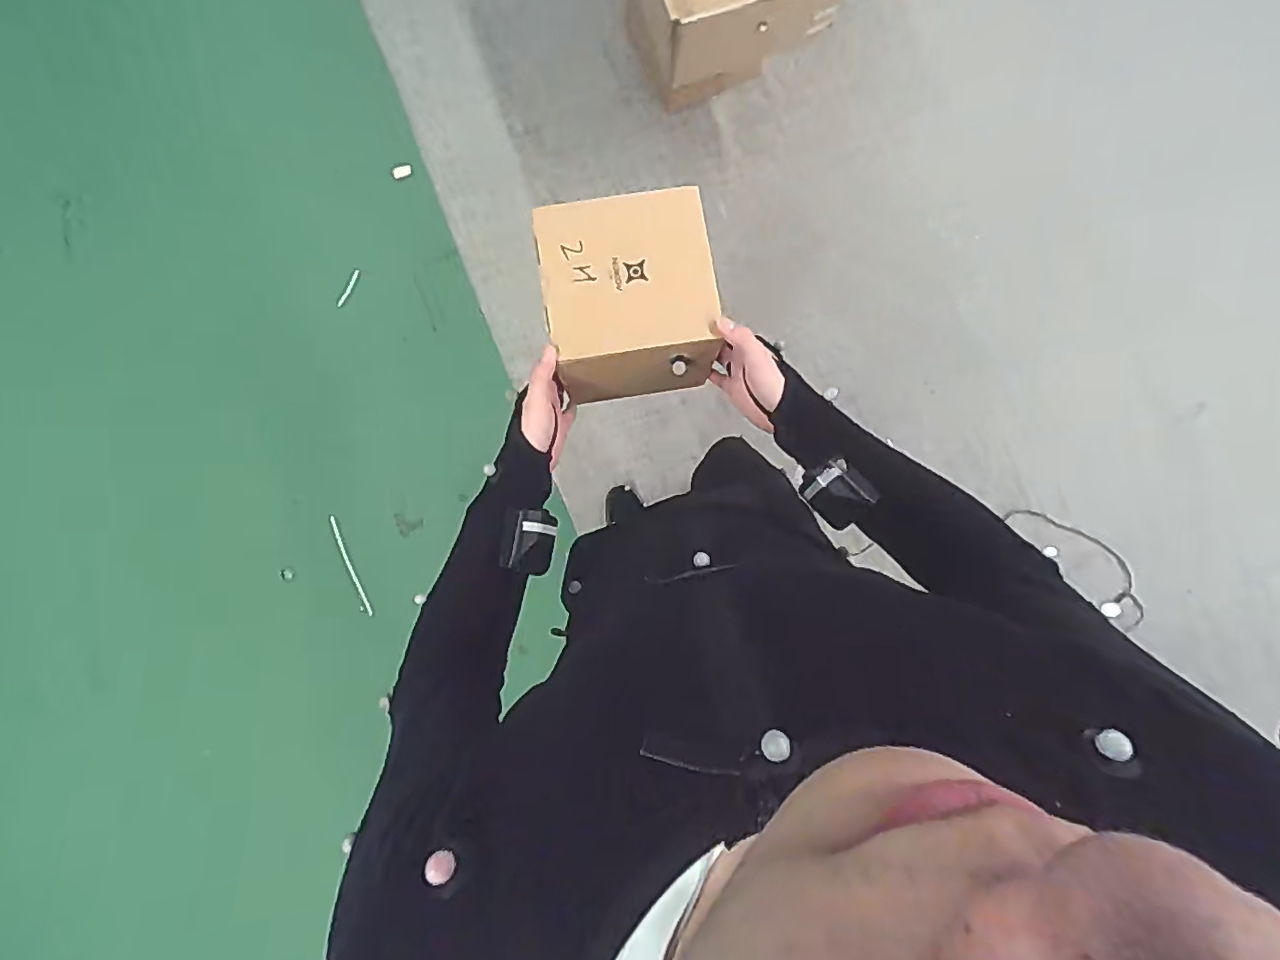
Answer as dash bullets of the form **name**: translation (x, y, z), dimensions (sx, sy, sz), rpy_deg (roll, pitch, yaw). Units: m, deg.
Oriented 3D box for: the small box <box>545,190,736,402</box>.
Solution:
- **small box**: translation (-0.003, -0.197, 0.620), dimensions (0.179, 0.176, 0.168), rpy_deg (-8, 83, -2)
